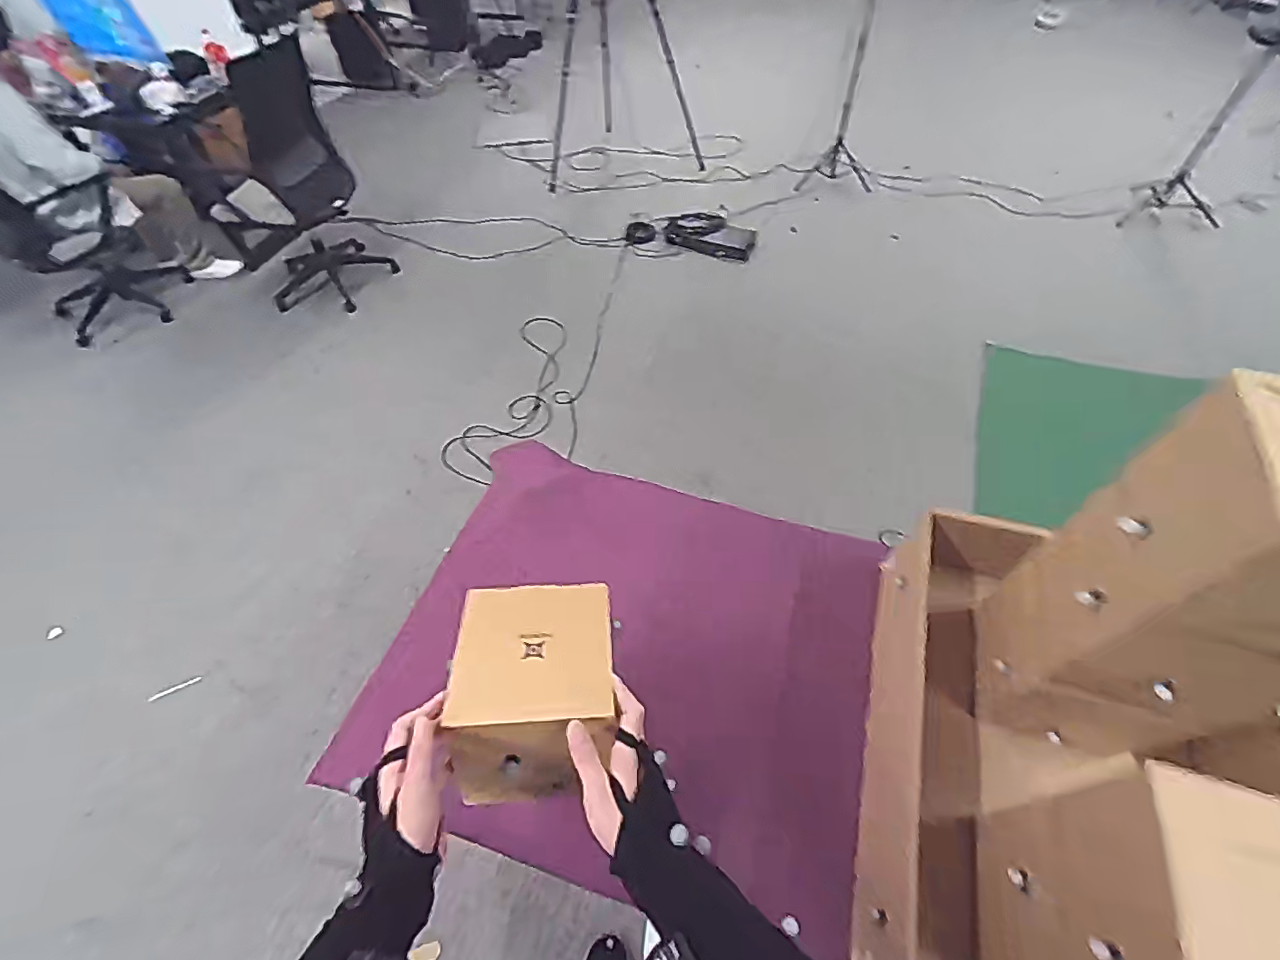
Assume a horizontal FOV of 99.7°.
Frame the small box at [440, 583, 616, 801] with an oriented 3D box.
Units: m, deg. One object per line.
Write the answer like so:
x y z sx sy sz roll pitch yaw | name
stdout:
-0.114 0.242 0.617 0.168 0.176 0.179 -2 36 -6 | small box

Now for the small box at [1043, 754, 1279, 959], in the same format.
0.454 0.351 0.424 0.168 0.176 0.179 14 53 15 | small box
